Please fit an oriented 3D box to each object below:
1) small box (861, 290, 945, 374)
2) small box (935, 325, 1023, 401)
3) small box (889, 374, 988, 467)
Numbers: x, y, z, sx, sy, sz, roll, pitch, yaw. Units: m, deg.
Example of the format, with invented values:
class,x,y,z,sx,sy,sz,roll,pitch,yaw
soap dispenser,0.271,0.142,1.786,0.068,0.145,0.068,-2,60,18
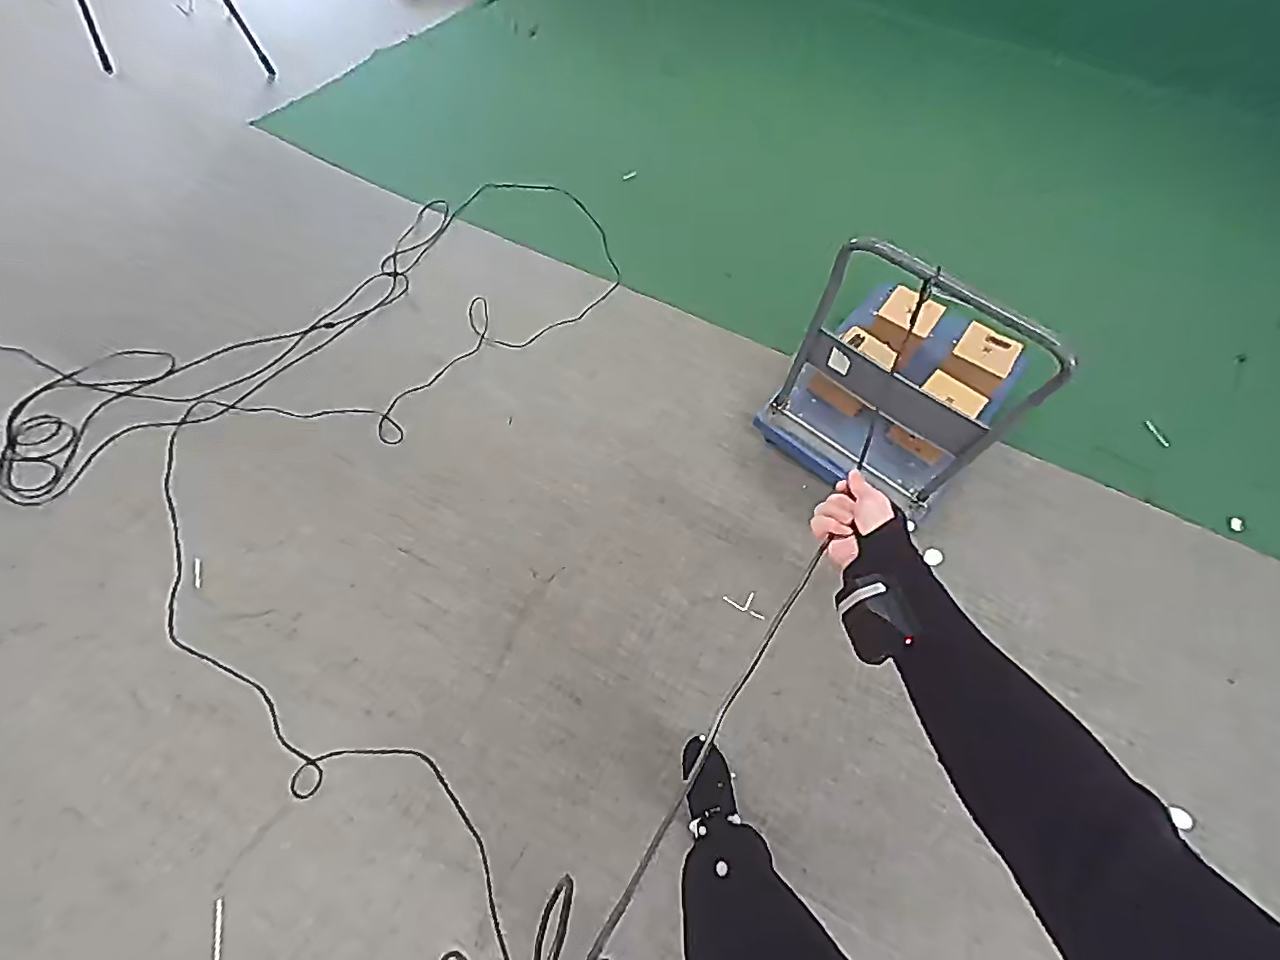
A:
class,x,y,z,sx,sy,sz,roll,pitch,yaw
small box,0.861,-0.485,1.788,0.168,0.176,0.179,35,64,16
small box,1.060,-0.349,1.718,0.168,0.176,0.179,34,65,17
small box,0.881,-0.175,1.613,0.168,0.176,0.179,39,66,18
